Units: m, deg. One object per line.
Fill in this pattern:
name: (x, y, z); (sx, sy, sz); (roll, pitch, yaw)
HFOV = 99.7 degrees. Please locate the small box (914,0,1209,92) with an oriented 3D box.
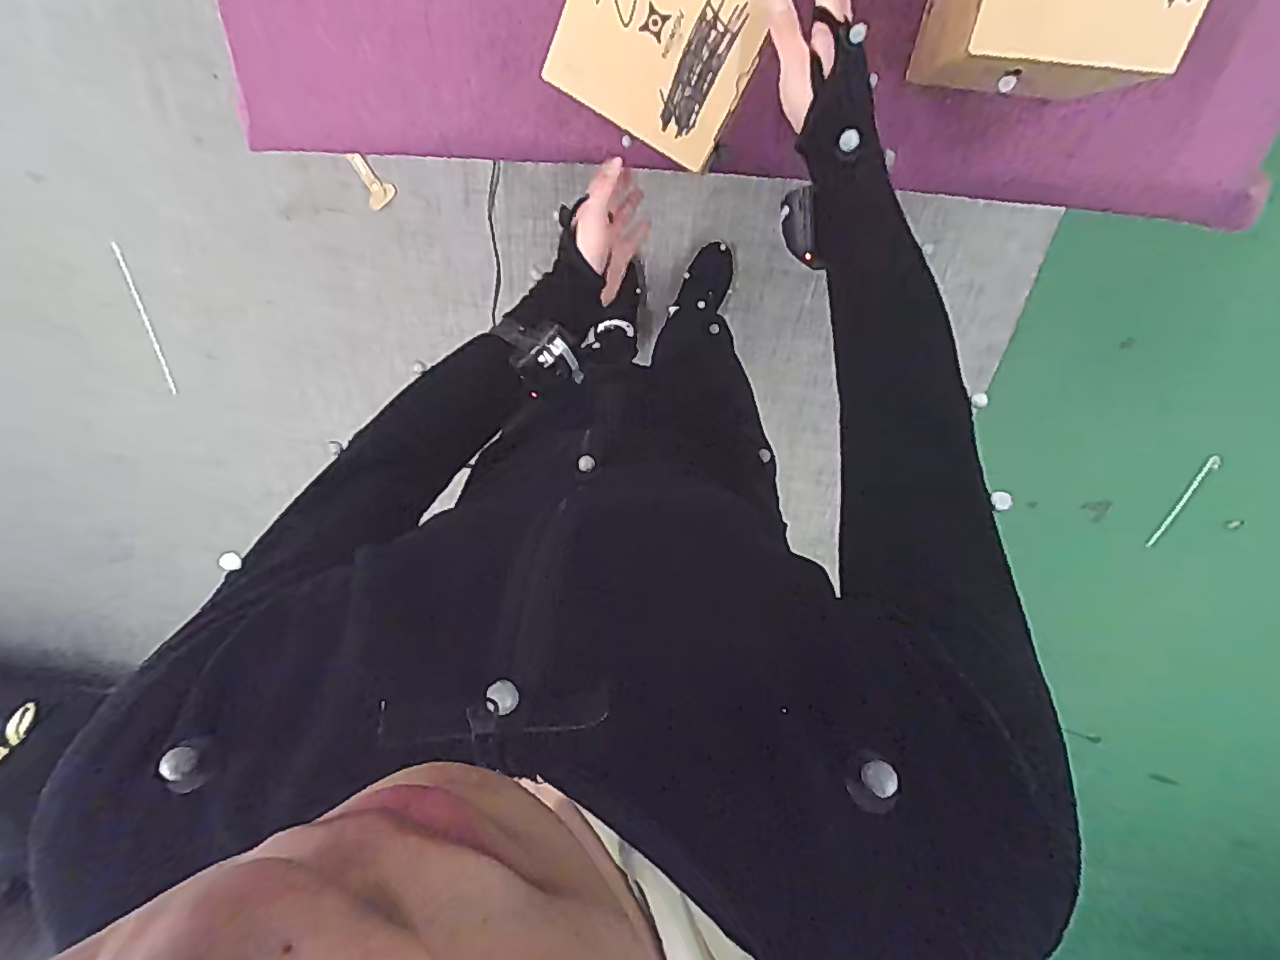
small box: (0.371, -0.456, 0.474); (0.179, 0.176, 0.168); (9, 120, 4)
